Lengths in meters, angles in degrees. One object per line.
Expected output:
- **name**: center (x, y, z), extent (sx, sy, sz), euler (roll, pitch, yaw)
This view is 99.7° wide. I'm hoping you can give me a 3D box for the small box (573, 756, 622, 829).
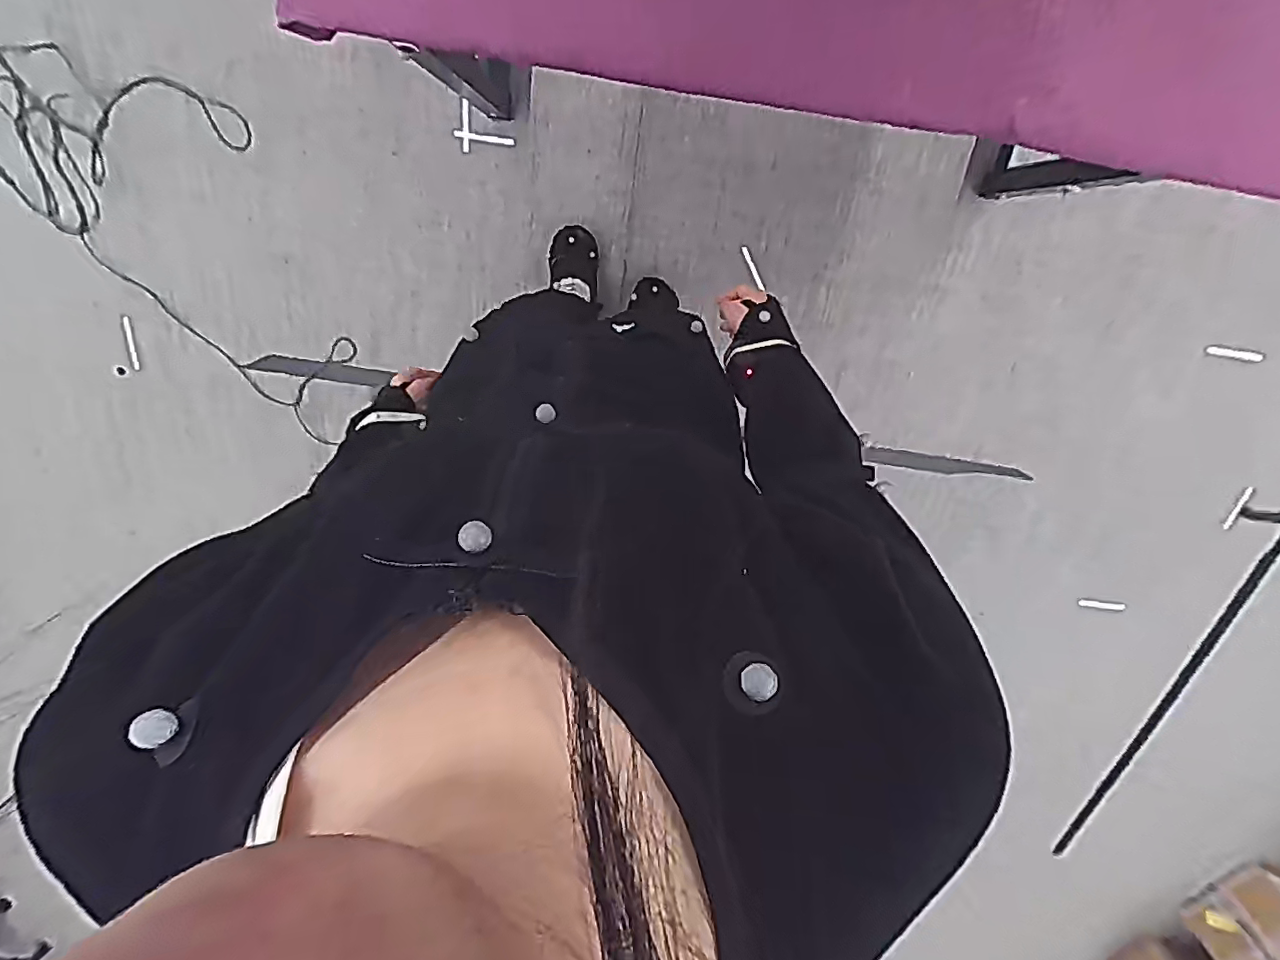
- **small box**: center (-0.153, 1.147, 1.991), extent (0.168, 0.176, 0.179), euler (4, 114, -1)
